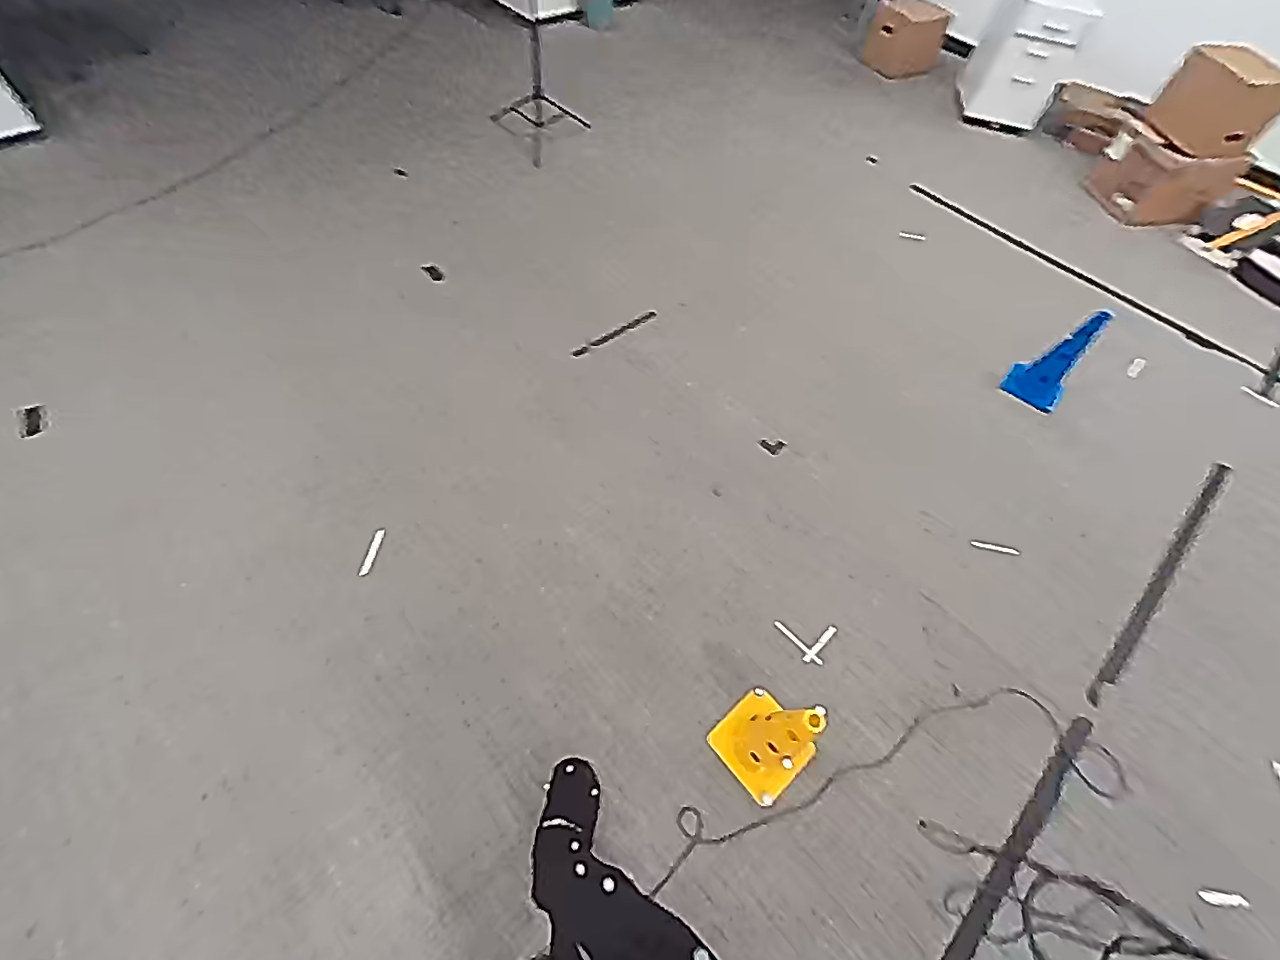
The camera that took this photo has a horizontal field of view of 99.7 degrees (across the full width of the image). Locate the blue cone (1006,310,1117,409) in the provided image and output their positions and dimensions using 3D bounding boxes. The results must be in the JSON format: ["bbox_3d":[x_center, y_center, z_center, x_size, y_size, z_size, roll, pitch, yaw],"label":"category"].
[{"bbox_3d":[1.540,-0.458,1.952,0.192,0.380,0.193,39,61,17],"label":"blue cone"}]
